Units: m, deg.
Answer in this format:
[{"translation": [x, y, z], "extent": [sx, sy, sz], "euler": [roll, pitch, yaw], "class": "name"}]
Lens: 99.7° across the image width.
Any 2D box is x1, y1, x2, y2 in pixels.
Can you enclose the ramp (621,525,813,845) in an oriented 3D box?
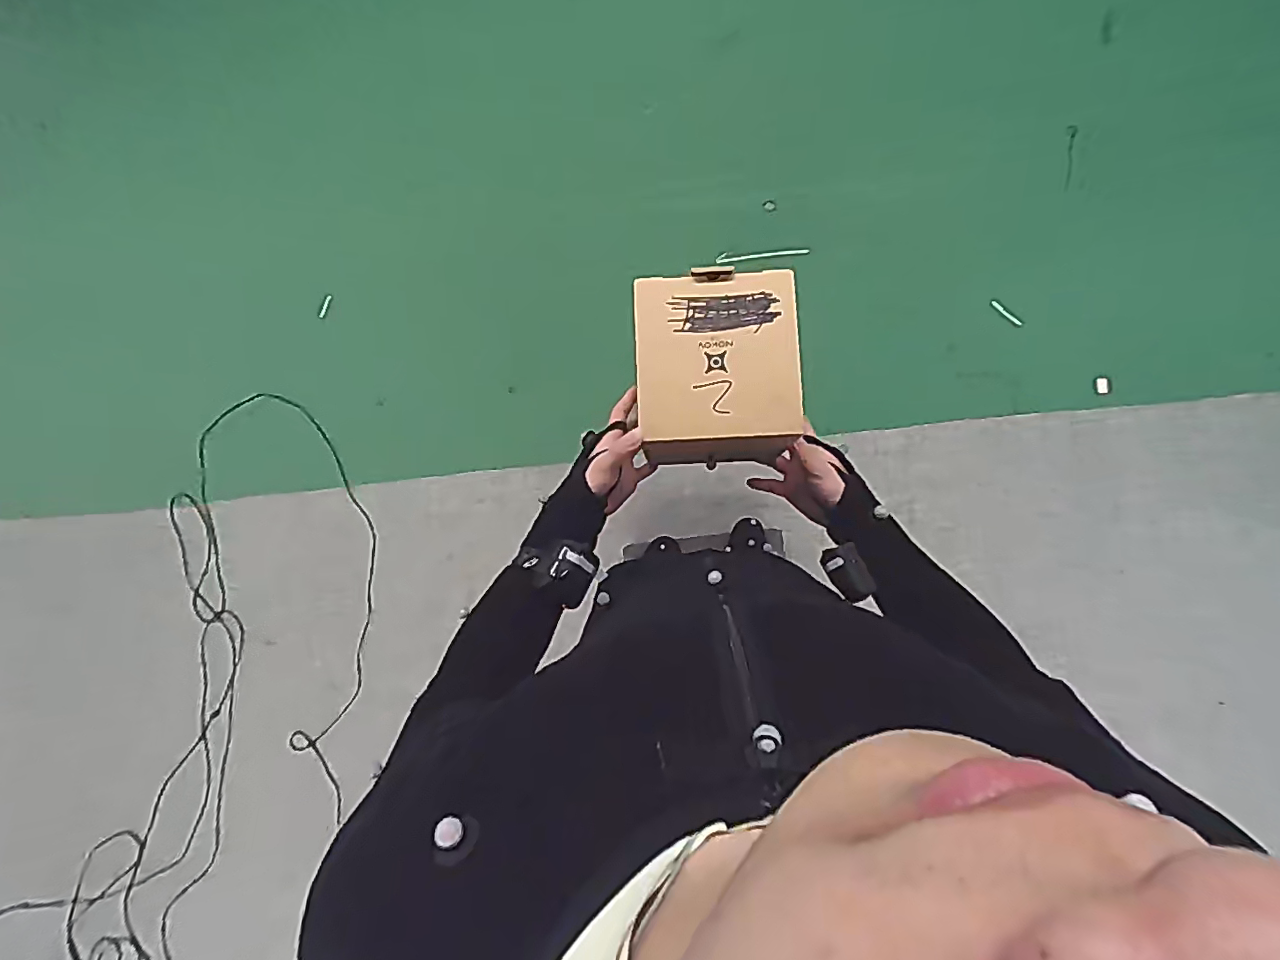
[{"translation": [0.246, 0.649, 1.670], "extent": [0.509, 0.206, 0.991], "euler": [-8, 85, 4], "class": "ramp"}]
